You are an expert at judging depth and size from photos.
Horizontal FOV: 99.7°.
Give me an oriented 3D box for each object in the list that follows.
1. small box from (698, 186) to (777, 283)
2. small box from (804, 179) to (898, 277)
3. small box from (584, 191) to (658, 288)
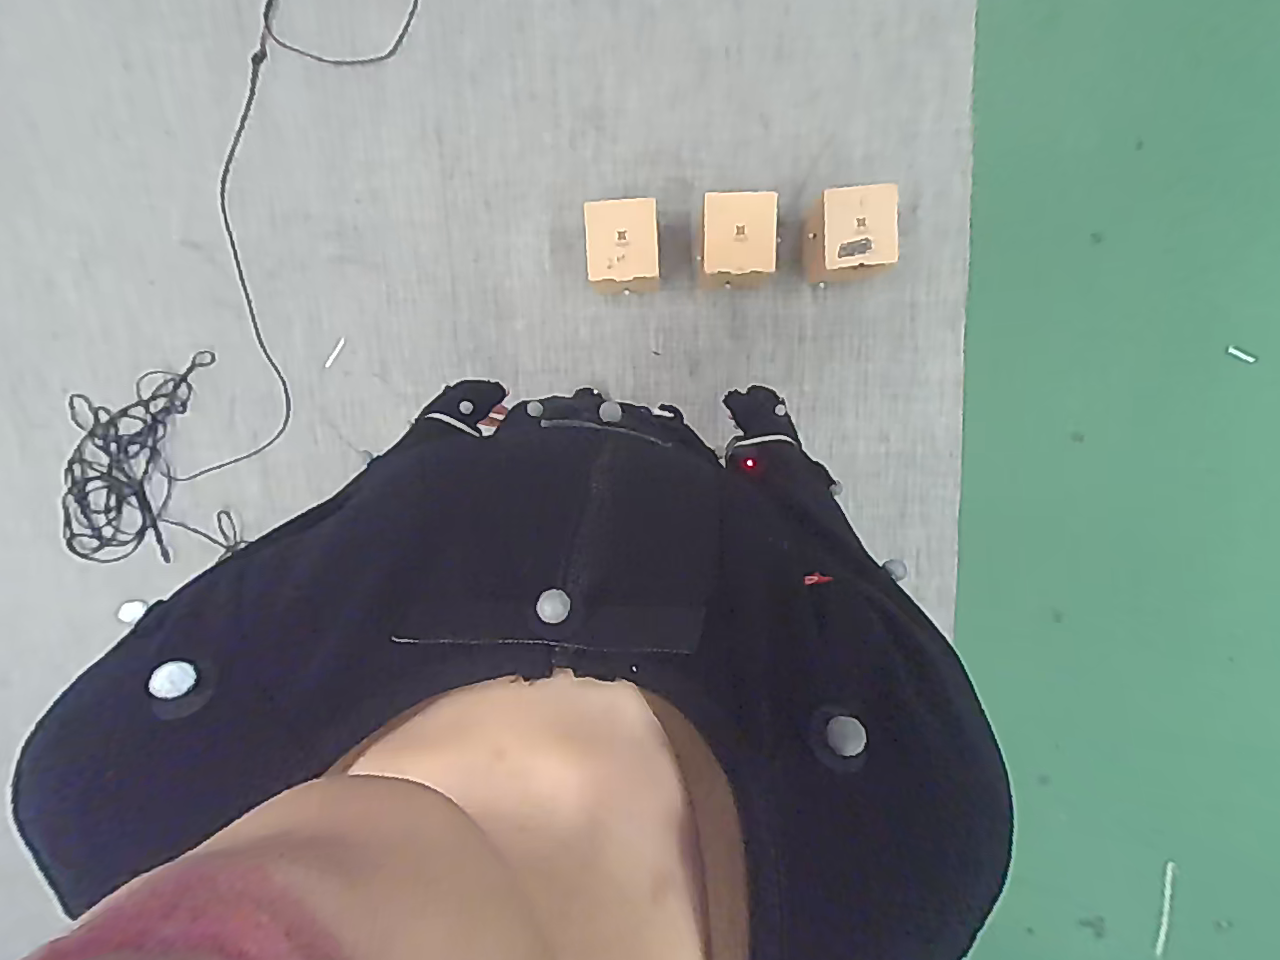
[{"bbox_3d":[0.227,-0.582,1.299,0.168,0.176,0.179,0,99,2],"label":"small box"},{"bbox_3d":[0.496,-0.589,1.289,0.168,0.176,0.179,-3,98,2],"label":"small box"},{"bbox_3d":[-0.041,-0.573,1.307,0.168,0.176,0.179,-2,99,3],"label":"small box"}]
